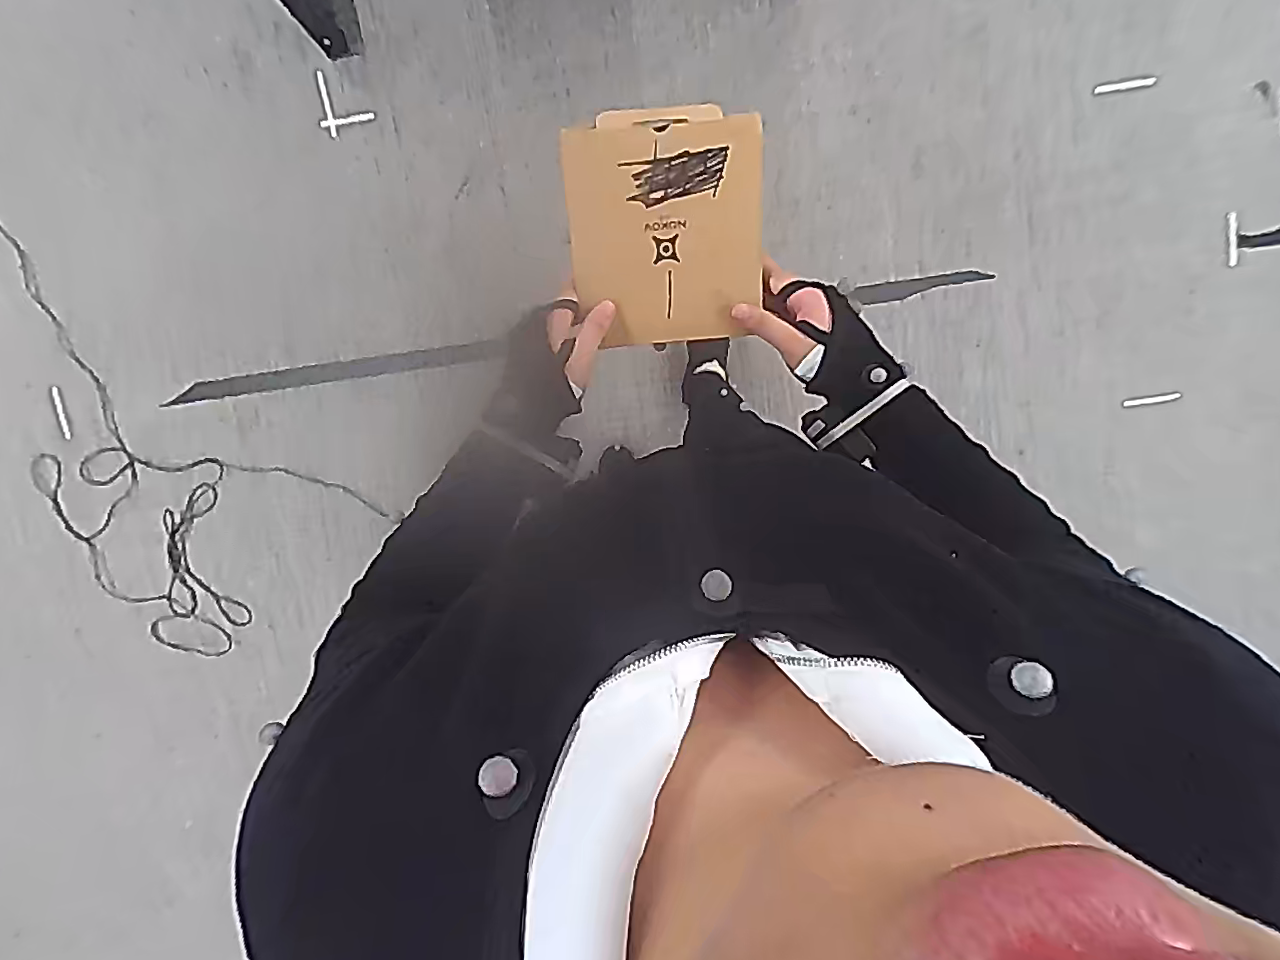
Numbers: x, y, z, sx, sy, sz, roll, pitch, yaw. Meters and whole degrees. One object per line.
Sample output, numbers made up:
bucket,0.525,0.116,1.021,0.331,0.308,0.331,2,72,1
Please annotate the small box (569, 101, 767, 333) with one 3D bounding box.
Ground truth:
small box,0.025,-0.246,0.541,0.168,0.176,0.179,-4,109,0
